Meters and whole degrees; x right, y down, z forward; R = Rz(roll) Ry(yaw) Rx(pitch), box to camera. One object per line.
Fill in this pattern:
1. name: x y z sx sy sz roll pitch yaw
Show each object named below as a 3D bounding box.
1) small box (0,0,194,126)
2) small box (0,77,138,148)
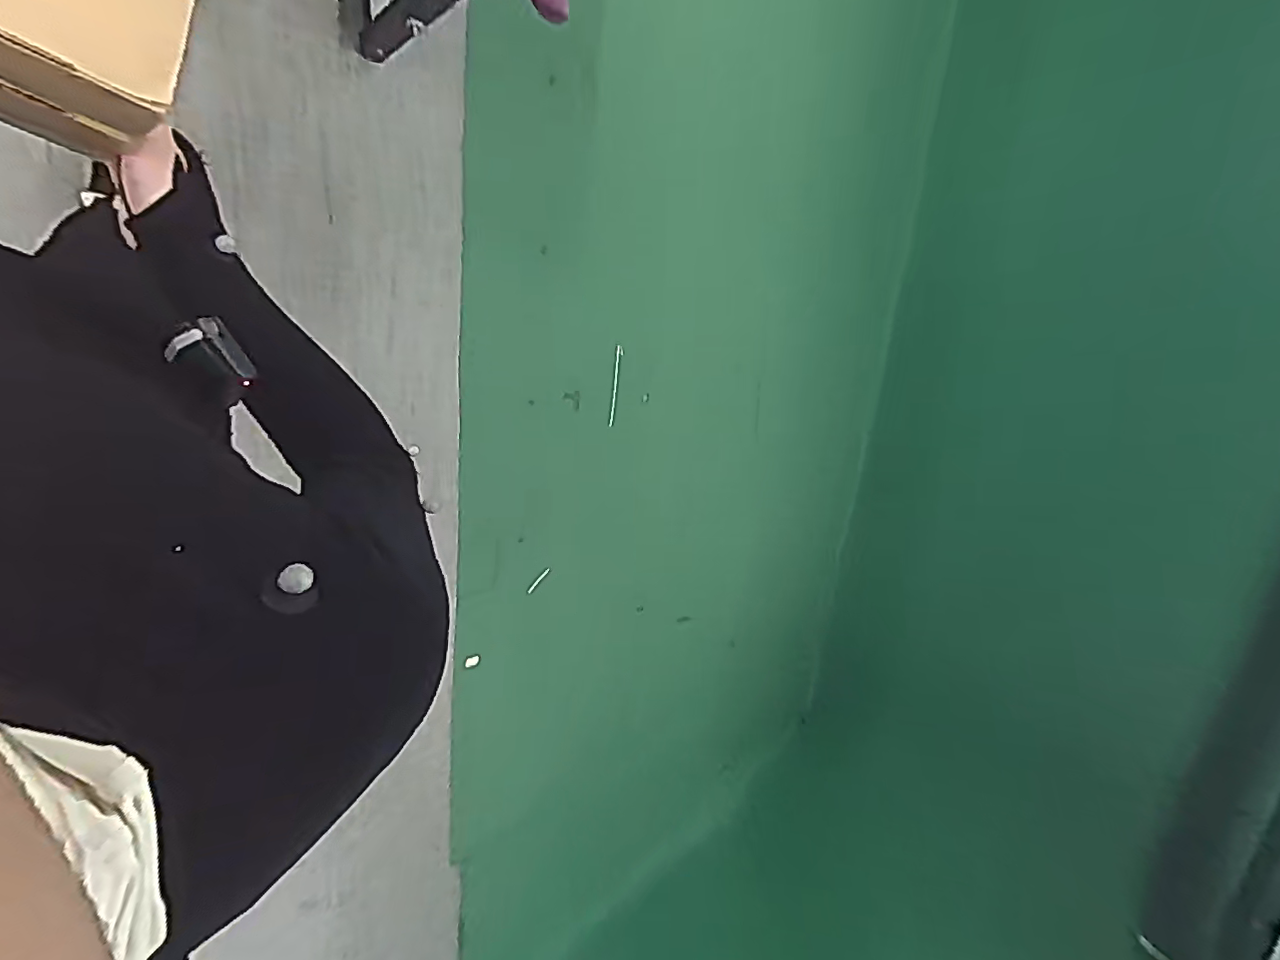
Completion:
1. small box: -0.294 -0.288 0.227 0.168 0.176 0.179 11 102 -48
2. small box: -0.411 -0.338 0.332 0.168 0.176 0.179 10 103 -49
